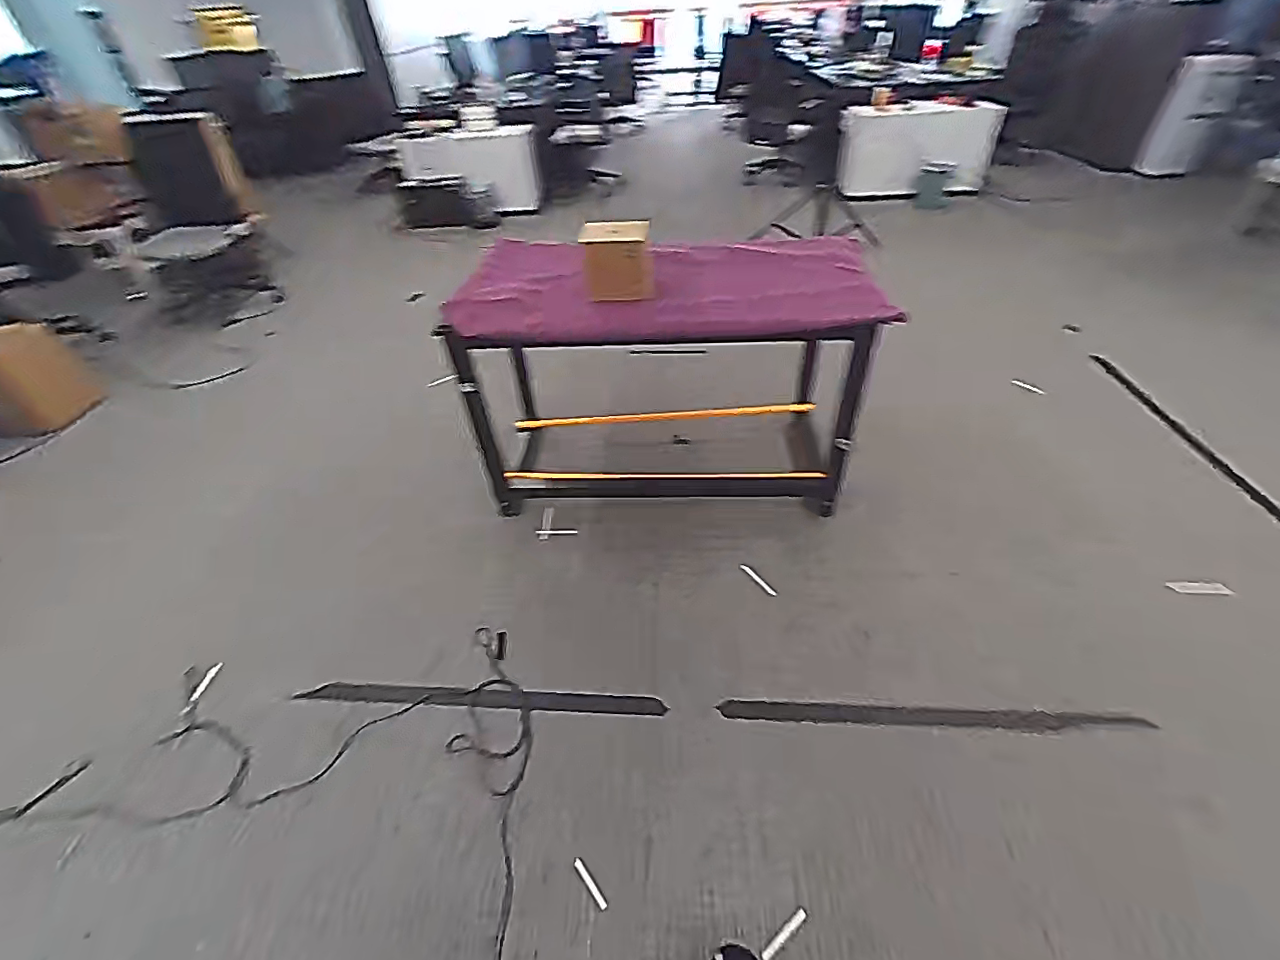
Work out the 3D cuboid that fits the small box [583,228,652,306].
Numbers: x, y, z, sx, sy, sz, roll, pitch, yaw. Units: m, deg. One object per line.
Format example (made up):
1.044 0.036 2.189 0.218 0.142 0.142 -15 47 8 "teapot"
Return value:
-0.058 -0.614 1.562 0.179 0.176 0.168 1 41 4 "small box"
